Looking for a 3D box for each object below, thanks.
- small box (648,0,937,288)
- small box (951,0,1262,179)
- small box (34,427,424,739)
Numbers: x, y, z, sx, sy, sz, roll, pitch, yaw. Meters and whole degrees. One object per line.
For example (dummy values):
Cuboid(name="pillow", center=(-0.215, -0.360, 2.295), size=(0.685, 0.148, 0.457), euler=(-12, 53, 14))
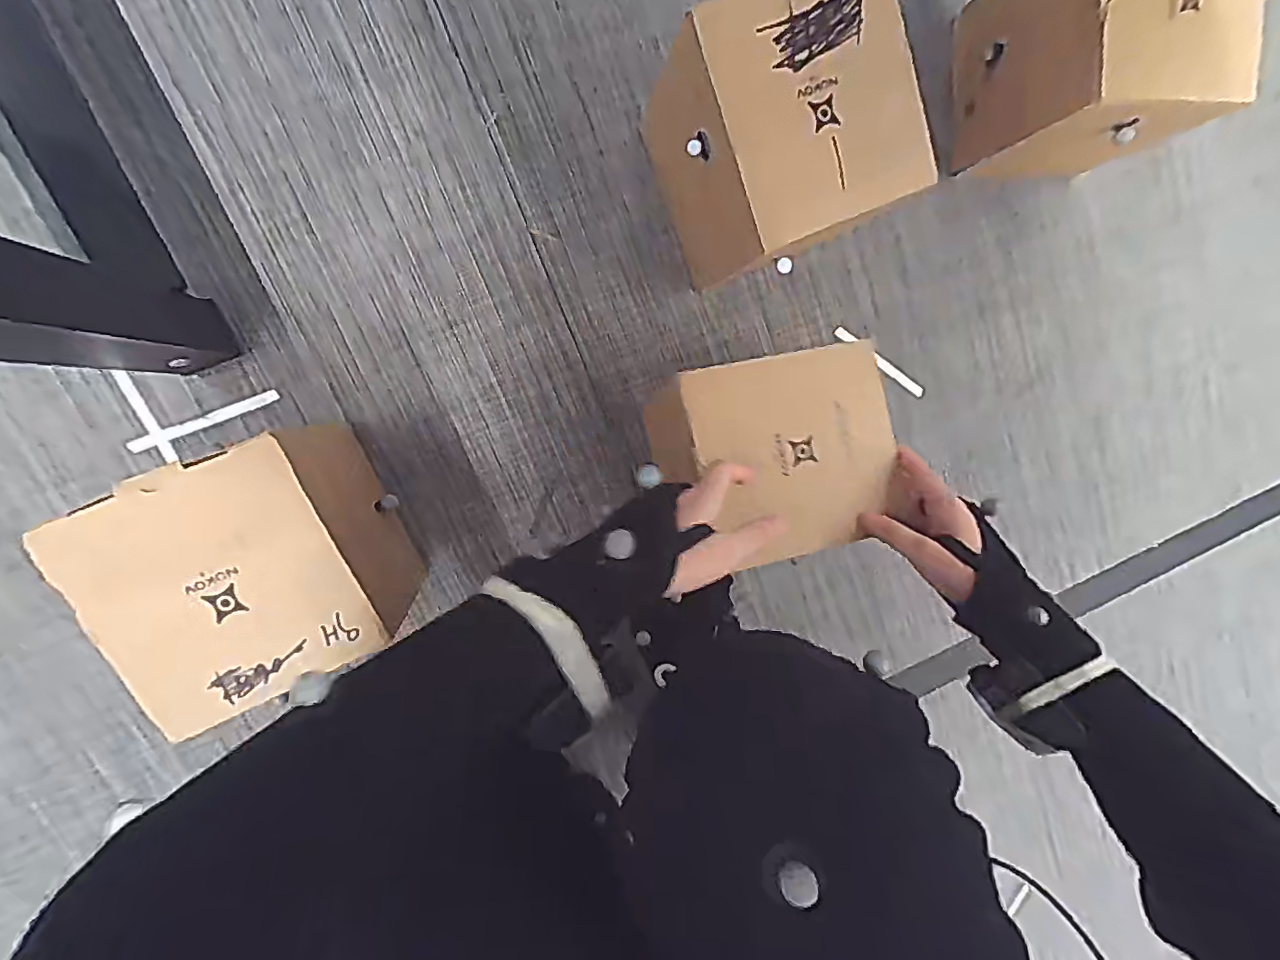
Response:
Cuboid(name="small box", center=(0.122, -0.298, 0.489), size=(0.168, 0.176, 0.179), euler=(-24, 103, -7))
Cuboid(name="small box", center=(0.452, -0.421, 0.542), size=(0.179, 0.176, 0.168), euler=(-6, 100, -10))
Cuboid(name="small box", center=(-0.305, 0.065, 0.452), size=(0.168, 0.176, 0.179), euler=(-23, 101, -8))
